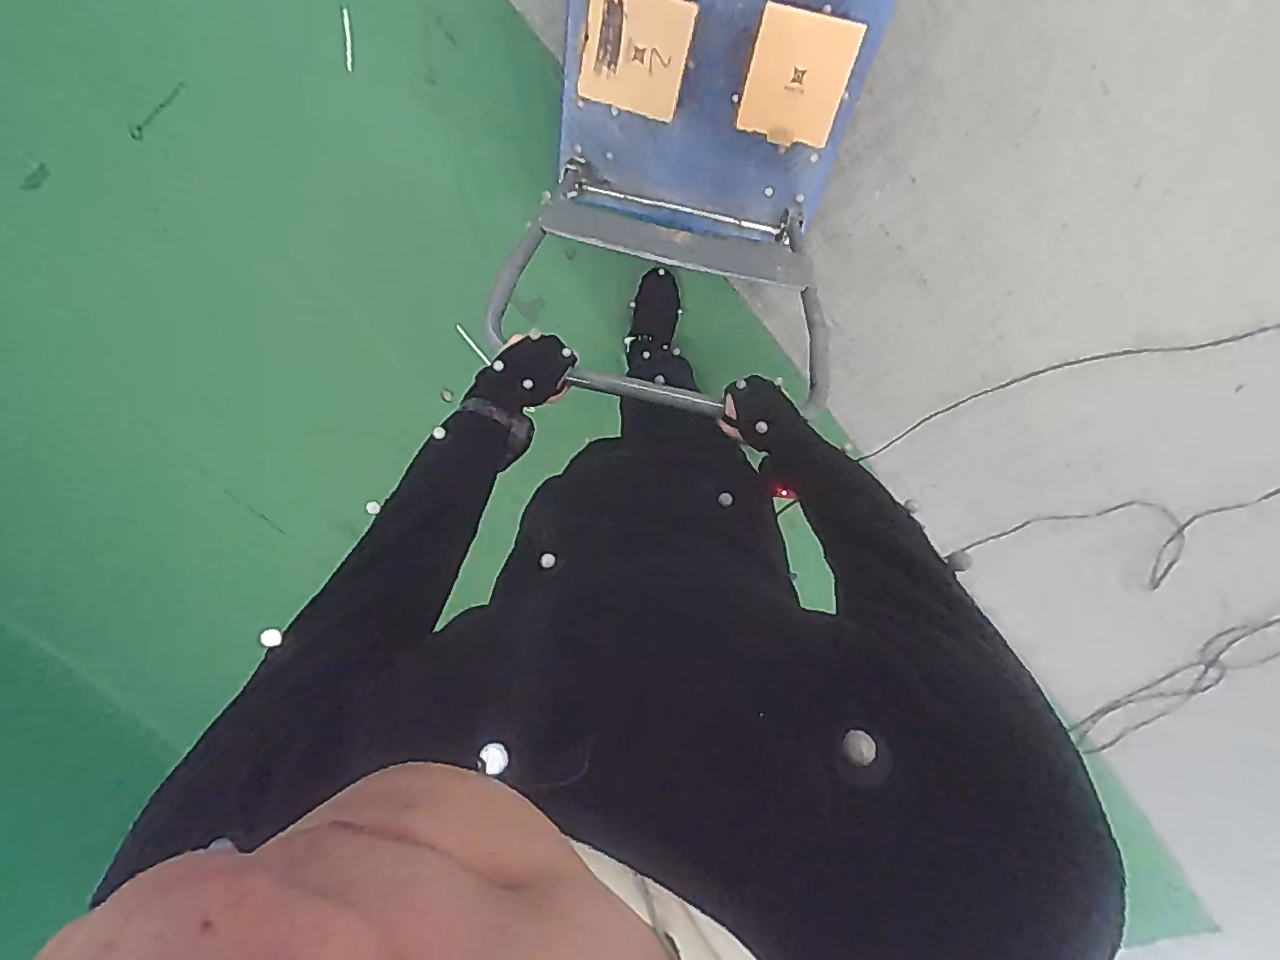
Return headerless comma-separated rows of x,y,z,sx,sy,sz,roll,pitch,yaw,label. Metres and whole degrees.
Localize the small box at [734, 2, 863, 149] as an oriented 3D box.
0.268,-0.724,0.967,0.168,0.176,0.179,12,132,-2,small box
